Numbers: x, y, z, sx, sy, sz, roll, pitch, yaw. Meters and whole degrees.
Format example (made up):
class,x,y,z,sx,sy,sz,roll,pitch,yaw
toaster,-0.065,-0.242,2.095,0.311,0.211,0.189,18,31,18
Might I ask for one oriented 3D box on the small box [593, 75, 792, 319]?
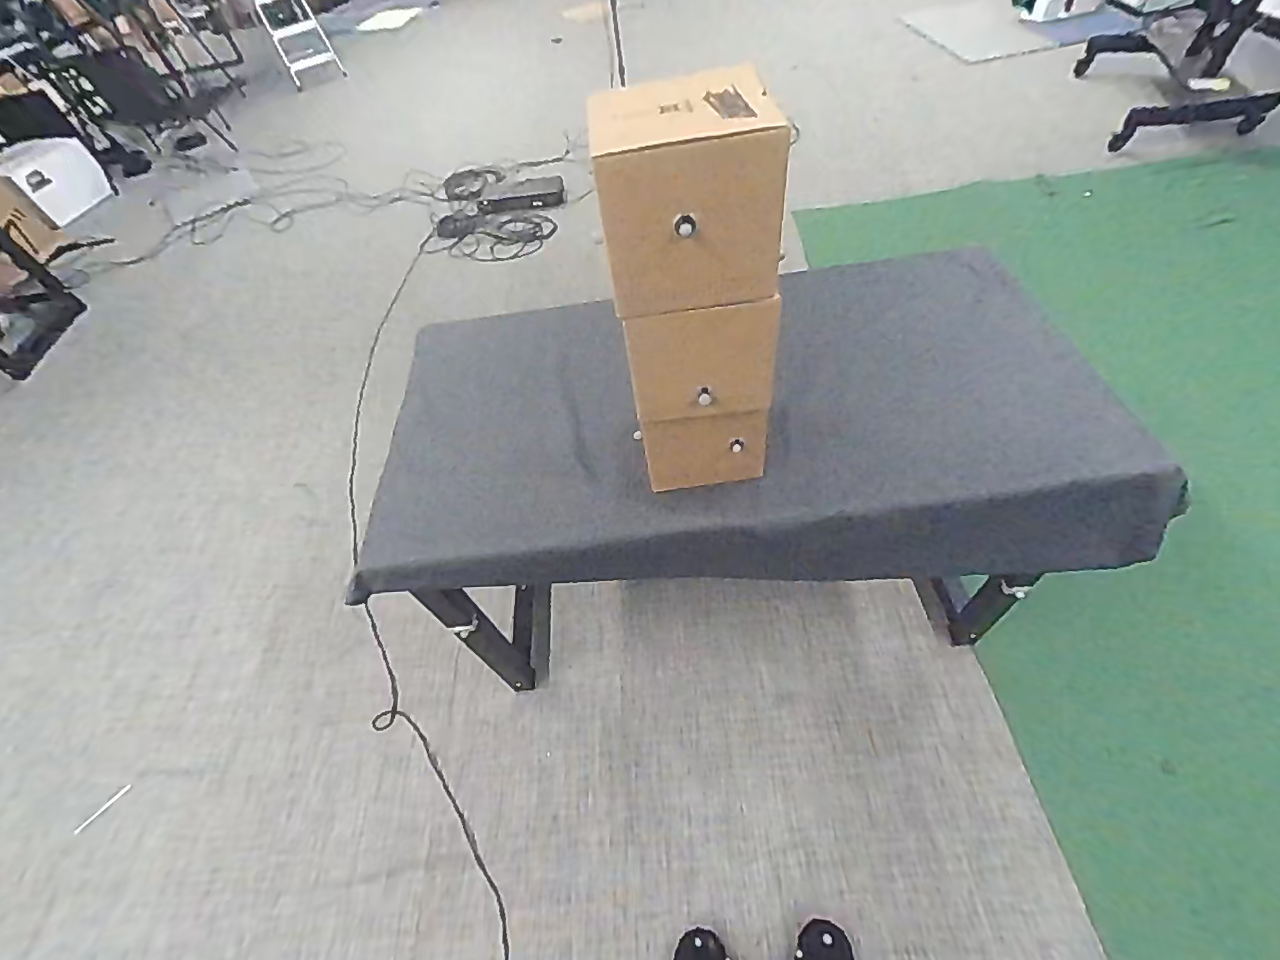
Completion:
class,x,y,z,sx,sy,sz,roll,pitch,yaw
small box,0.049,-0.297,0.580,0.179,0.176,0.168,-8,51,3

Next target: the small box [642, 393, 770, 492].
class,x,y,z,sx,sy,sz,roll,pitch,yaw
small box,0.093,-0.101,0.840,0.179,0.176,0.168,-9,51,3

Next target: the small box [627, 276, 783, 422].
class,x,y,z,sx,sy,sz,roll,pitch,yaw
small box,0.076,-0.195,0.707,0.179,0.176,0.168,-6,51,3
